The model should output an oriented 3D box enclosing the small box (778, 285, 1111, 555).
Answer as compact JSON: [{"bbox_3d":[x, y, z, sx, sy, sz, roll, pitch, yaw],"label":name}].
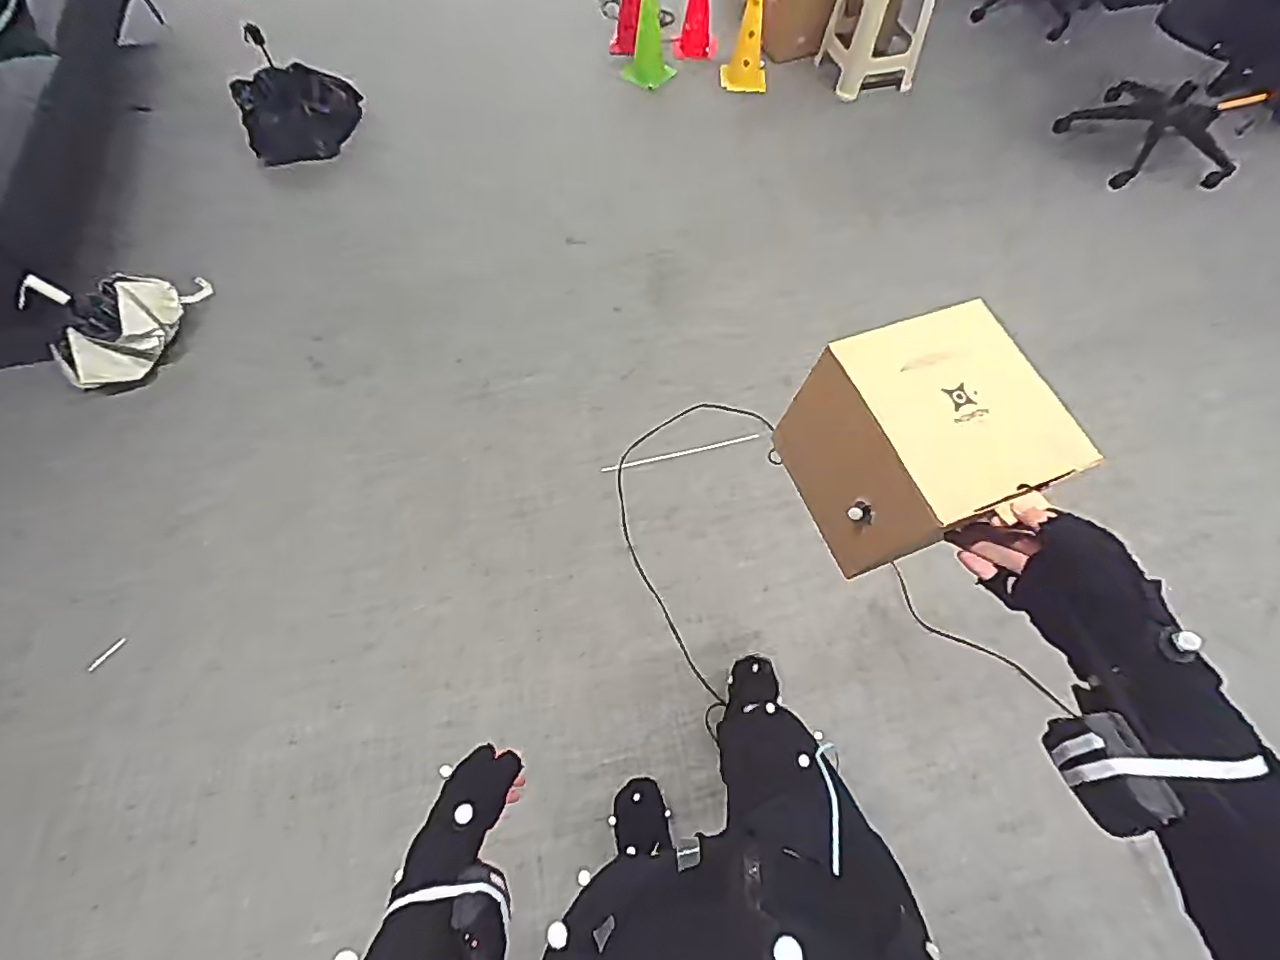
[{"bbox_3d":[0.257,-0.042,0.506,0.168,0.176,0.179,-19,69,-12],"label":"small box"}]
